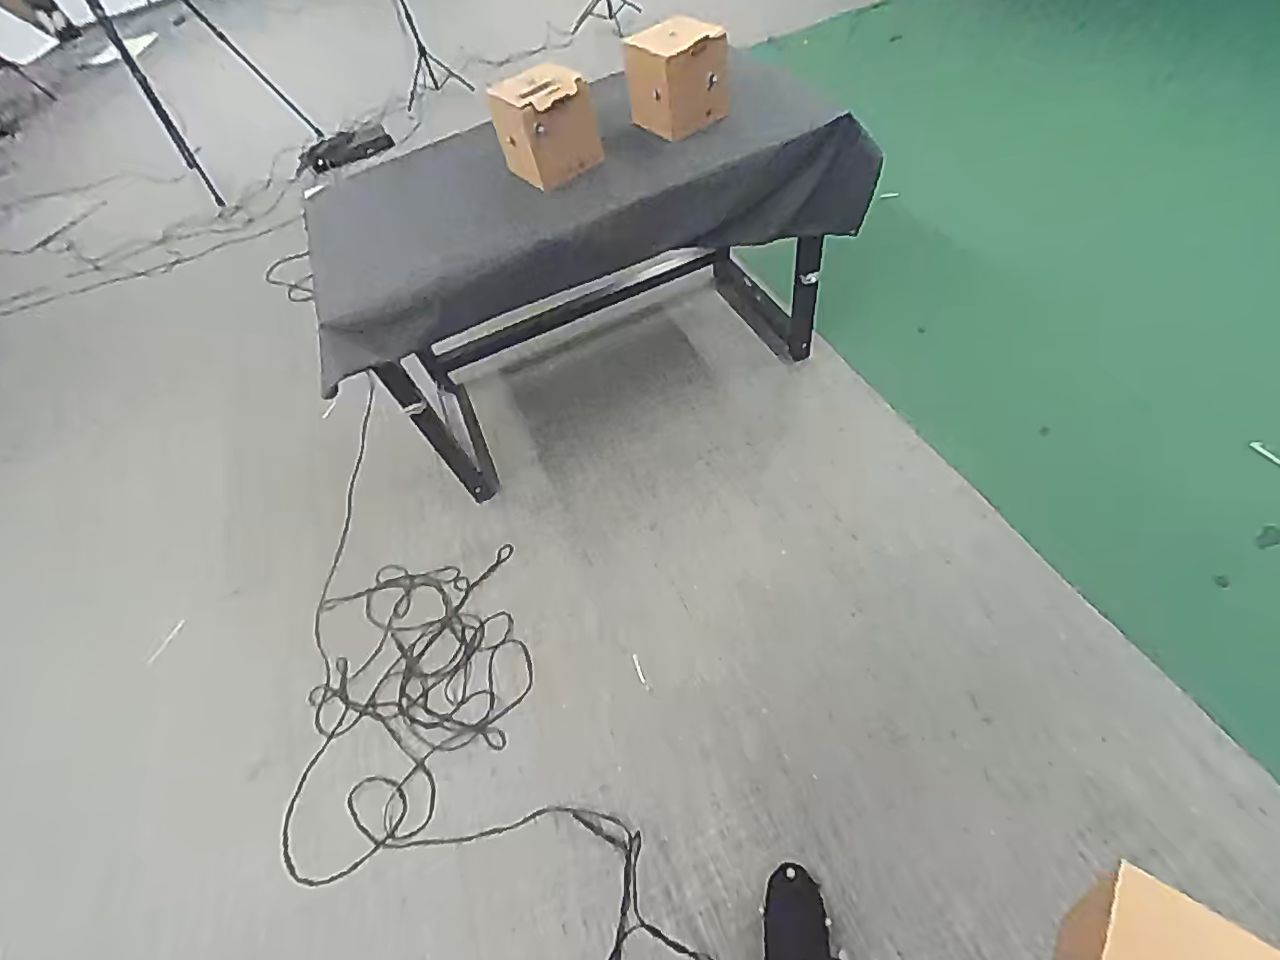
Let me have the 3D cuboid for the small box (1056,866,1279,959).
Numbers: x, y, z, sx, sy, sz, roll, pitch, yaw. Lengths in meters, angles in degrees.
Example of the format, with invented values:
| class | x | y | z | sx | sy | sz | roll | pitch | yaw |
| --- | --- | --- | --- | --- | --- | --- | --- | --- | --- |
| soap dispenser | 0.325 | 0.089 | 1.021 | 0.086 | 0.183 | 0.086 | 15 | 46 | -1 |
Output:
| class | x | y | z | sx | sy | sz | roll | pitch | yaw |
| --- | --- | --- | --- | --- | --- | --- | --- | --- | --- |
| small box | 0.495 | 0.518 | 0.493 | 0.168 | 0.176 | 0.179 | 24 | 46 | 37 |

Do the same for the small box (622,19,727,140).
| class | x | y | z | sx | sy | sz | roll | pitch | yaw |
| --- | --- | --- | --- | --- | --- | --- | --- | --- | --- |
| small box | 0.085 | -0.907 | 1.233 | 0.168 | 0.176 | 0.179 | -33 | 55 | -13 |
